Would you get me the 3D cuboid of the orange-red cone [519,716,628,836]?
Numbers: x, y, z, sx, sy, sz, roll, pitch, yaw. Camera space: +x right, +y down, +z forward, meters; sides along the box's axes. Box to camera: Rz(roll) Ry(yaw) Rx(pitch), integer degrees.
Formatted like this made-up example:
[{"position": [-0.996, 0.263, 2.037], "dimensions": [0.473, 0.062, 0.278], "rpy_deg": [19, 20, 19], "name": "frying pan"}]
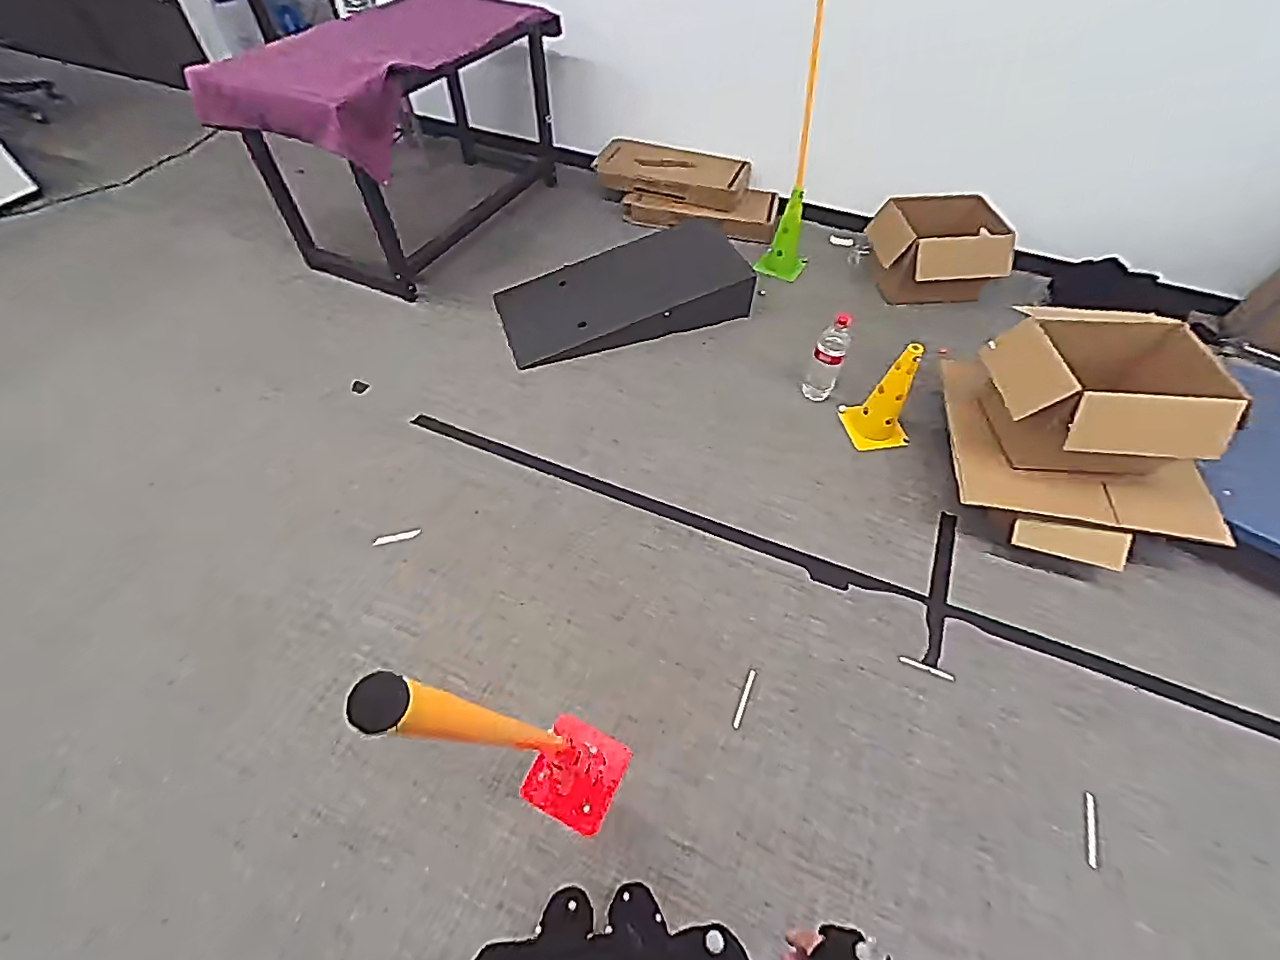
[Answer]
[{"position": [-0.145, 0.569, 1.100], "dimensions": [0.198, 0.360, 0.199], "rpy_deg": [23, 56, 14], "name": "orange-red cone"}]
